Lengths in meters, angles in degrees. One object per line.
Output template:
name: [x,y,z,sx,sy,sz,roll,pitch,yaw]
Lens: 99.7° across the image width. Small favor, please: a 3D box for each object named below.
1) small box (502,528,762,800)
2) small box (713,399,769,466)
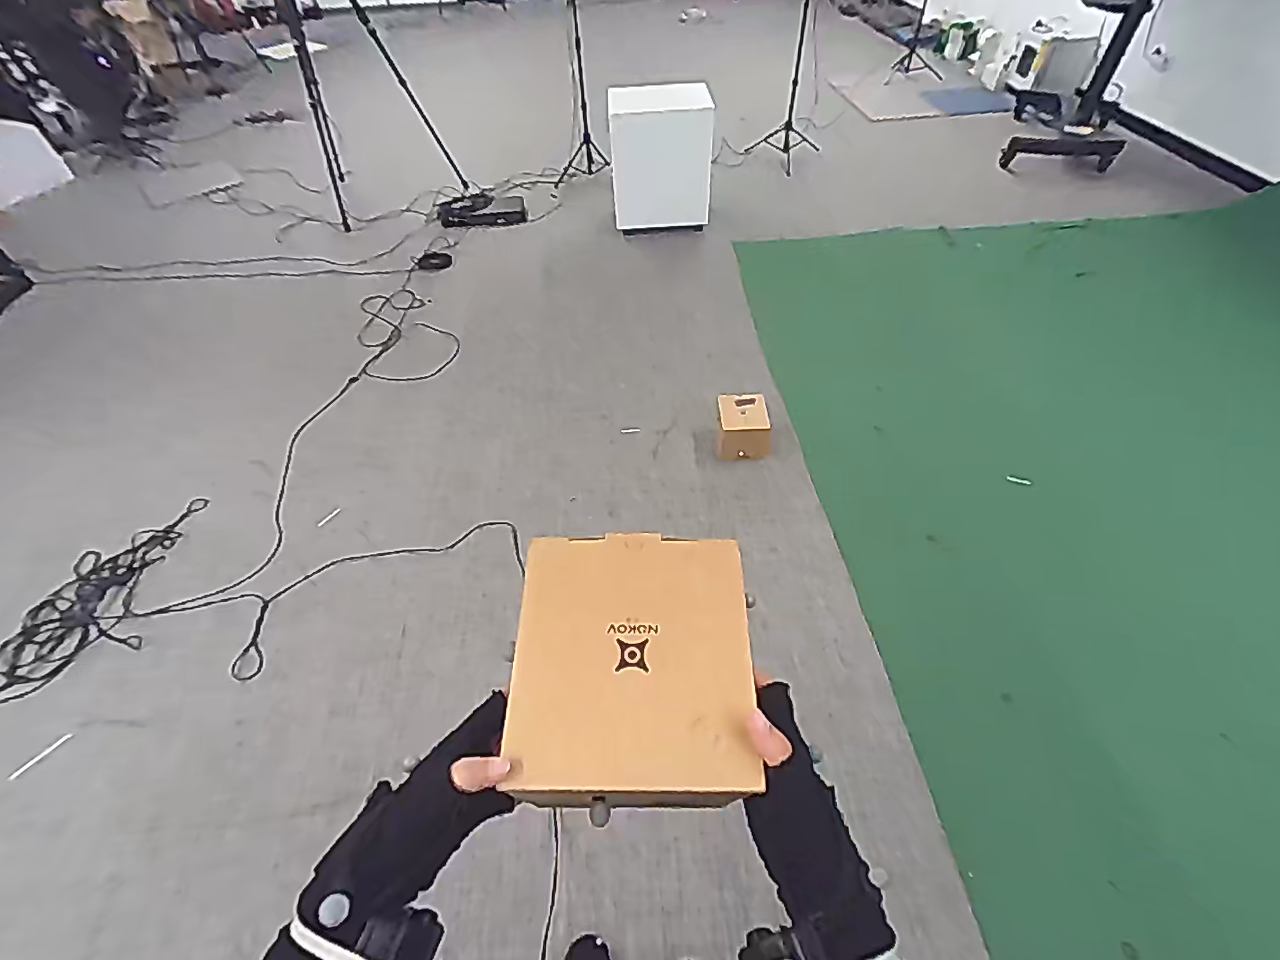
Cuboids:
small box: [-0.003,0.156,0.444,0.168,0.176,0.179,0,54,0]
small box: [0.357,-0.171,1.948,0.168,0.176,0.179,-2,51,1]
